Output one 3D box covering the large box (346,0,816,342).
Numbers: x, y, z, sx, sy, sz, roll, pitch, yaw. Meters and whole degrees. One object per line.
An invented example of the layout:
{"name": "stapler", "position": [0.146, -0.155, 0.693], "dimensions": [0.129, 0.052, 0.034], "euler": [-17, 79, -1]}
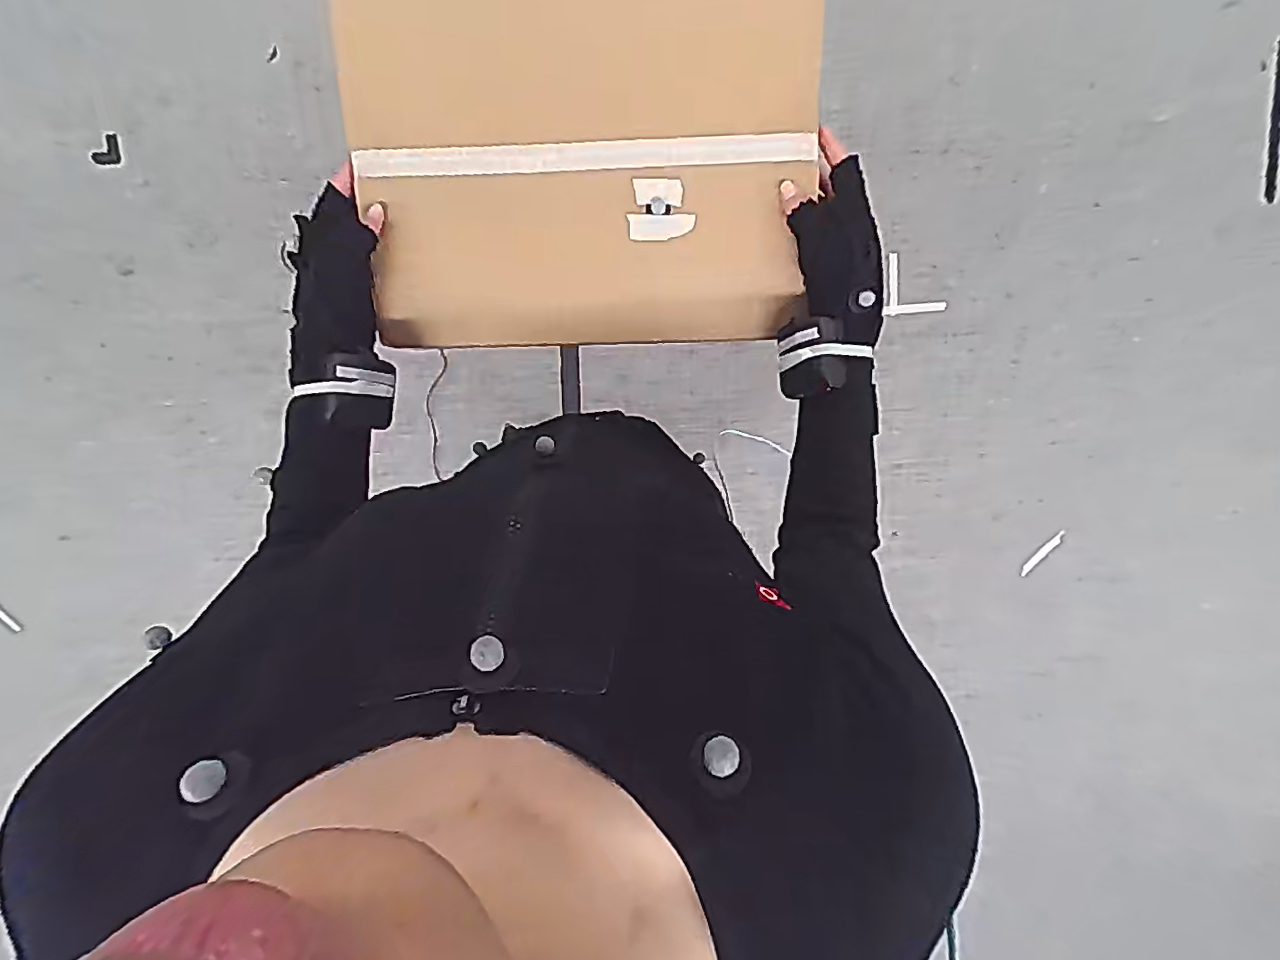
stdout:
{"name": "large box", "position": [-0.046, -0.330, 0.627], "dimensions": [0.408, 0.320, 0.320], "euler": [-1, 106, 1]}
